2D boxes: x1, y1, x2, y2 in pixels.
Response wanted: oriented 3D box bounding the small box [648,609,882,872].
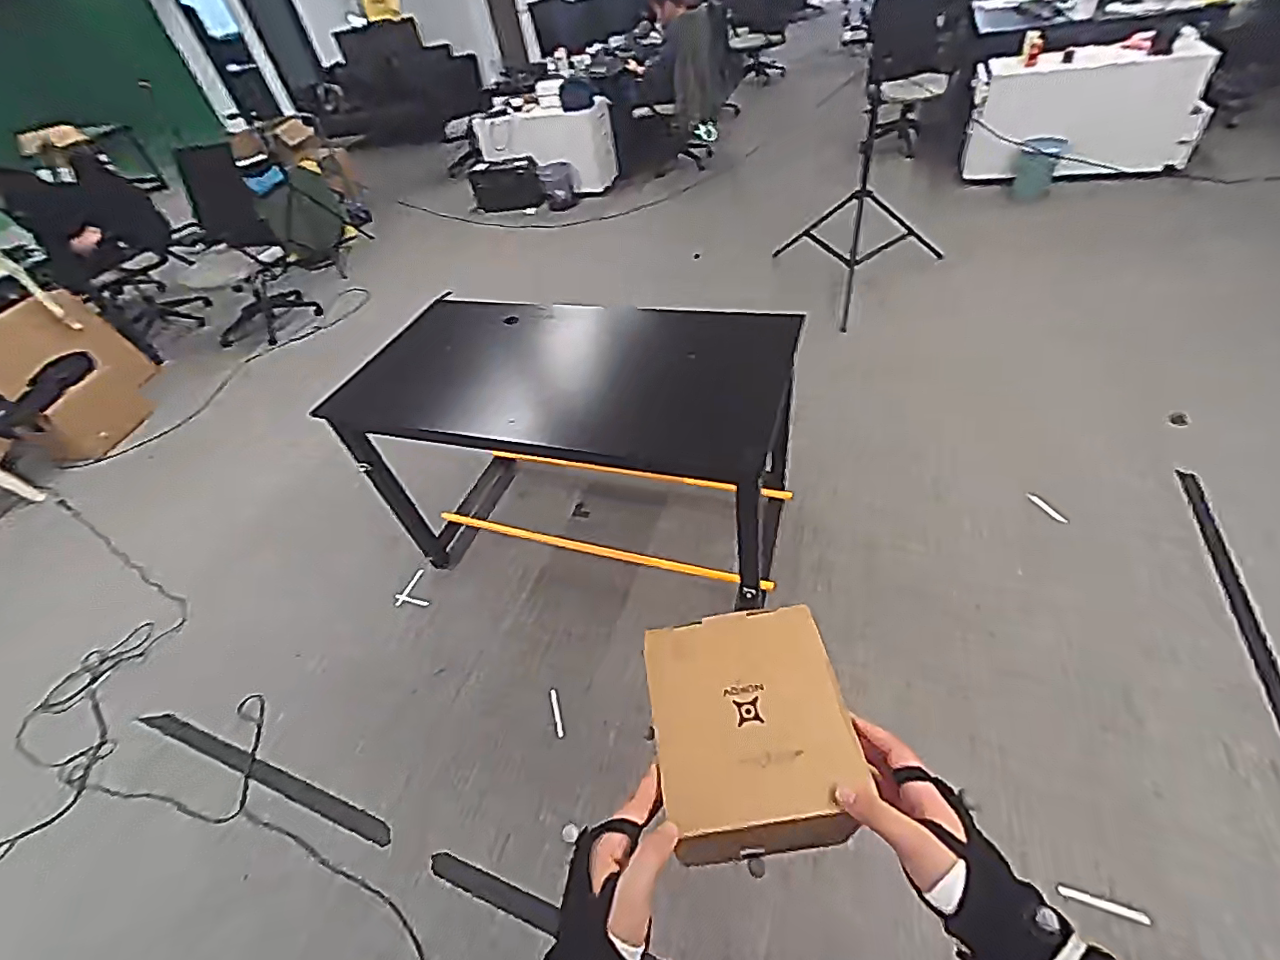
[{"bbox_3d":[0.104,0.253,0.524,0.168,0.176,0.179,-10,47,1],"label":"small box"}]
